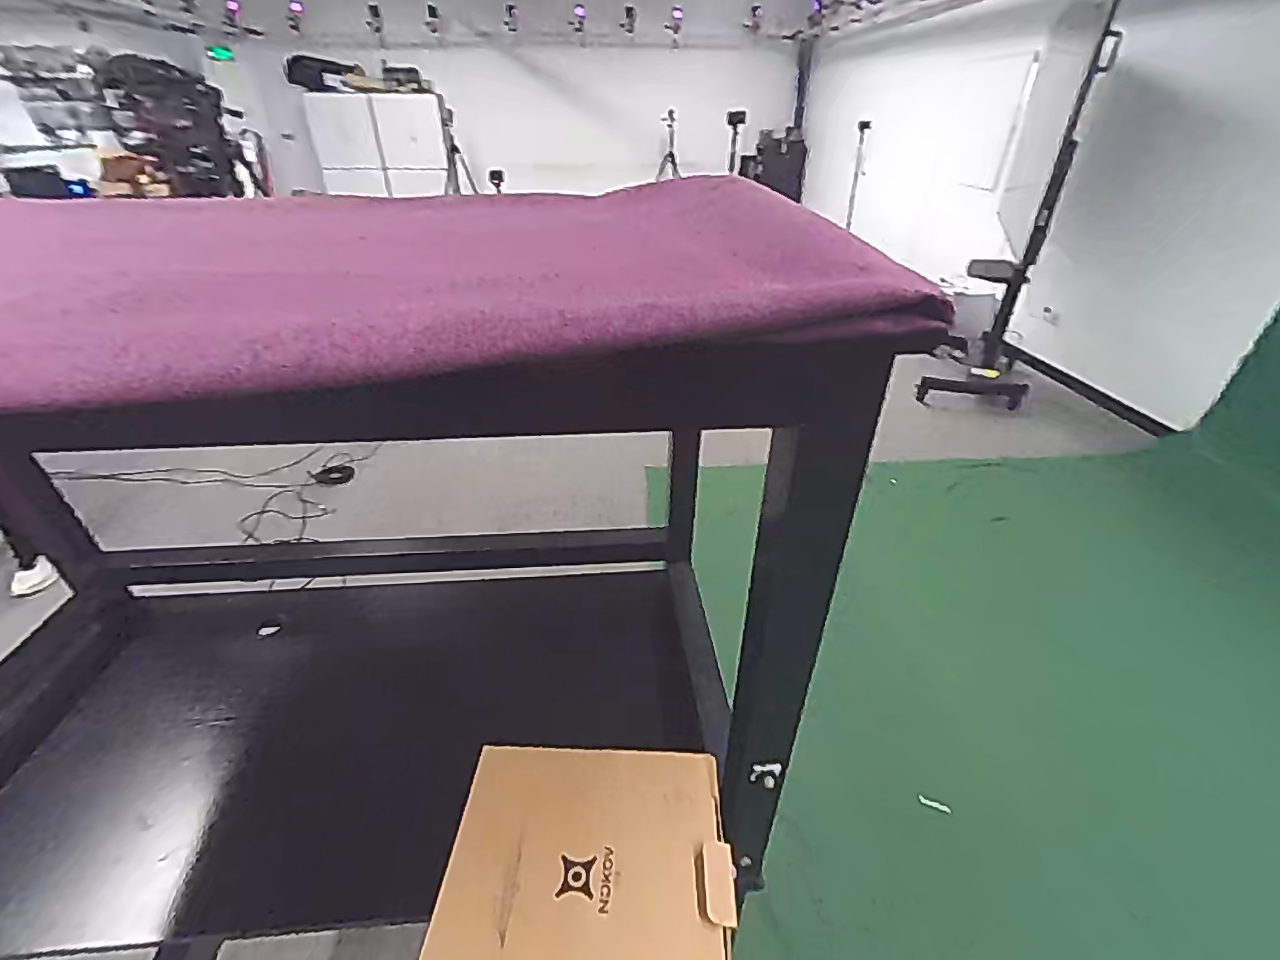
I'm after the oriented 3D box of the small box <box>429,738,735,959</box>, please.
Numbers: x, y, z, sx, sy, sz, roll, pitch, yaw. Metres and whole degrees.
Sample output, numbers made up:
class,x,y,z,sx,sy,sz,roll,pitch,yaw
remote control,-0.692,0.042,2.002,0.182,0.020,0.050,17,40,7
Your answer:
class,x,y,z,sx,sy,sz,roll,pitch,yaw
small box,-0.029,0.312,0.388,0.179,0.176,0.168,0,32,3
